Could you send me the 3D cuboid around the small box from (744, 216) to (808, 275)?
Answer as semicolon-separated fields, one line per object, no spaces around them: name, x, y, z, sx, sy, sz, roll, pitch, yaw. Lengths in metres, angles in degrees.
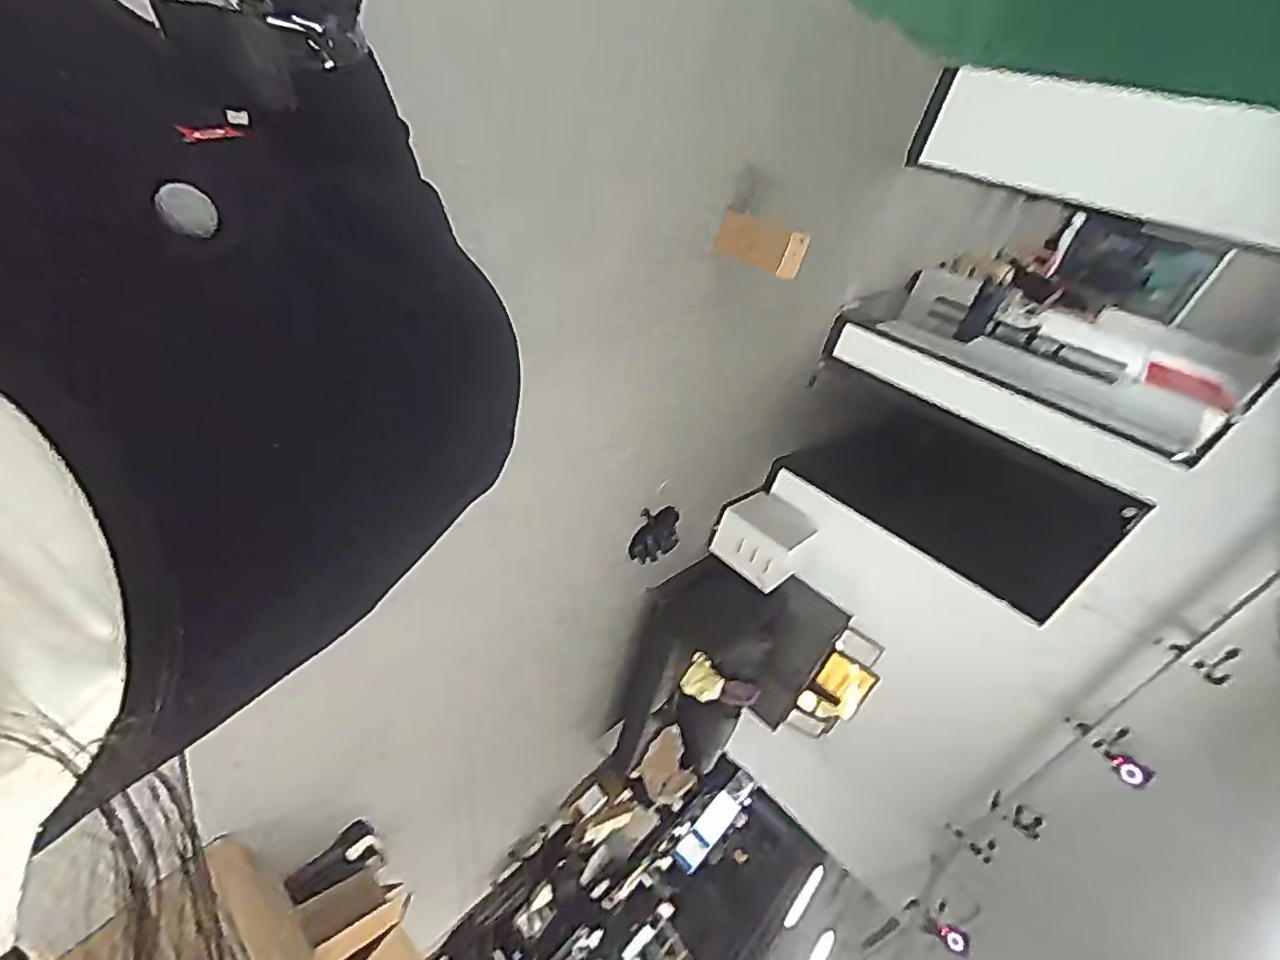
small box;0.552;-0.965;2.226;0.168;0.176;0.179;-17;133;-45

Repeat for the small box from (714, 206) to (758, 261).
small box;0.439;-1.047;2.307;0.168;0.176;0.179;-17;133;-48
